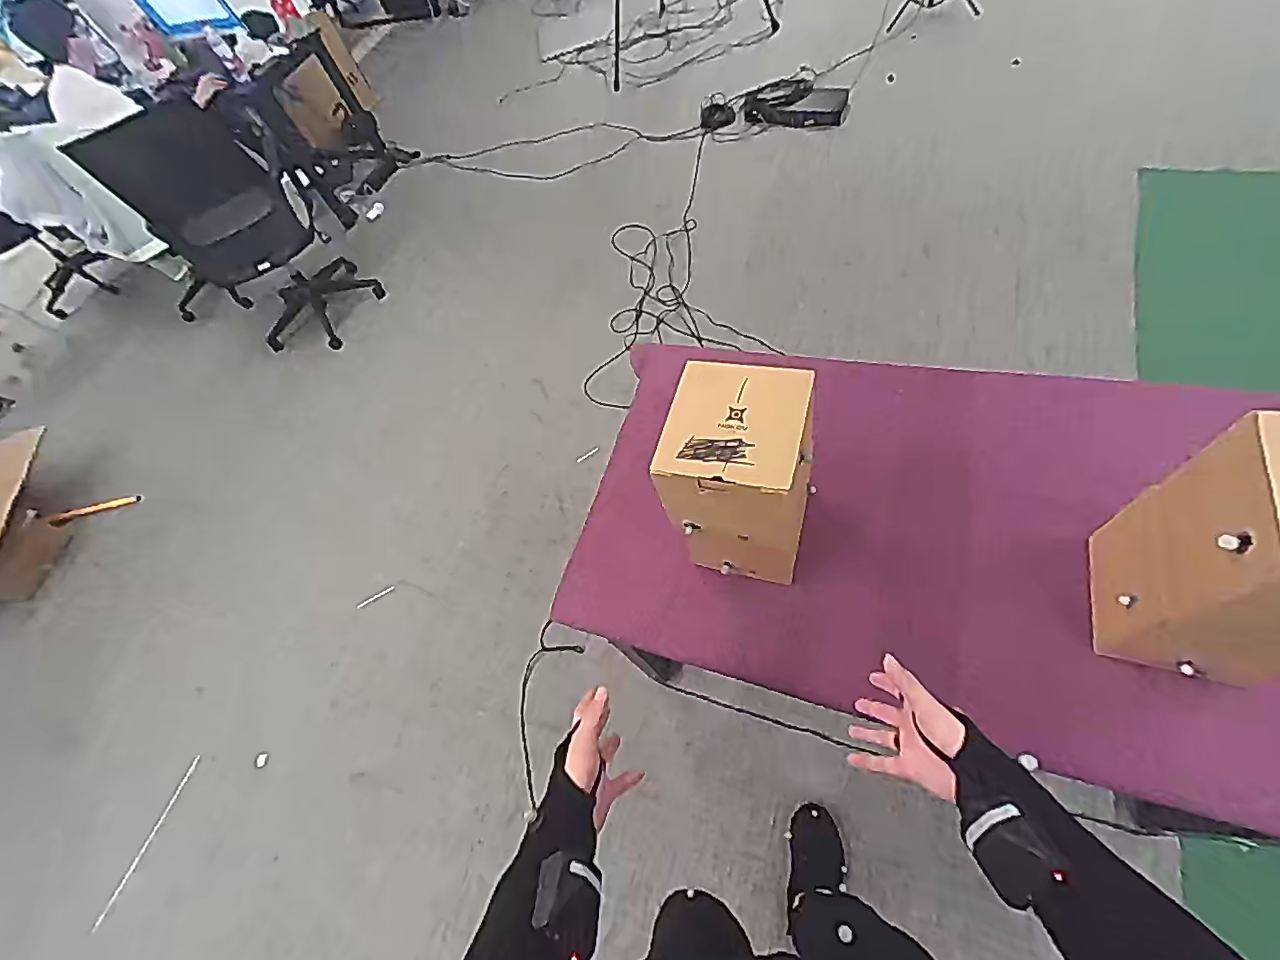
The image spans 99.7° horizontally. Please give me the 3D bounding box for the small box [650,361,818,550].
[{"bbox_3d":[0.130,-0.028,0.703,0.168,0.176,0.179,10,62,20],"label":"small box"}]

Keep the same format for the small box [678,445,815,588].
[{"bbox_3d":[0.169,0.046,0.844,0.168,0.176,0.179,10,64,20],"label":"small box"}]

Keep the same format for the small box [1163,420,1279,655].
[{"bbox_3d":[0.651,0.070,0.515,0.168,0.176,0.179,11,63,20],"label":"small box"}]
